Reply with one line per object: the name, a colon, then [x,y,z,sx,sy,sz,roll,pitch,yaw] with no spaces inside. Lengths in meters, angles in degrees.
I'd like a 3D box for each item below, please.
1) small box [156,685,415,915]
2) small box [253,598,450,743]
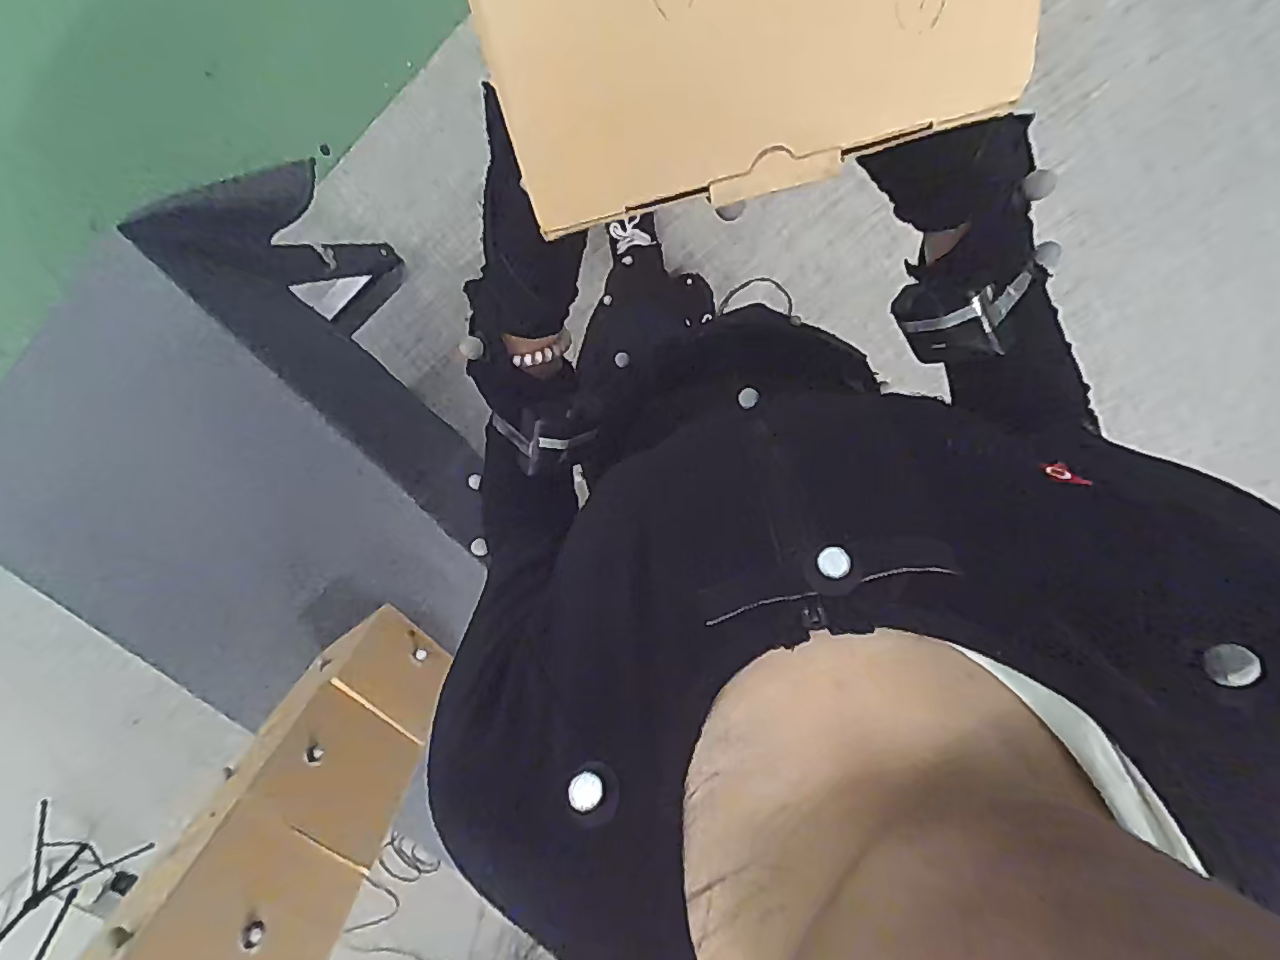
small box: [-0.430,0.391,0.686,0.168,0.176,0.179,-37,108,17]
small box: [-0.427,0.320,0.833,0.179,0.176,0.168,-35,109,15]
